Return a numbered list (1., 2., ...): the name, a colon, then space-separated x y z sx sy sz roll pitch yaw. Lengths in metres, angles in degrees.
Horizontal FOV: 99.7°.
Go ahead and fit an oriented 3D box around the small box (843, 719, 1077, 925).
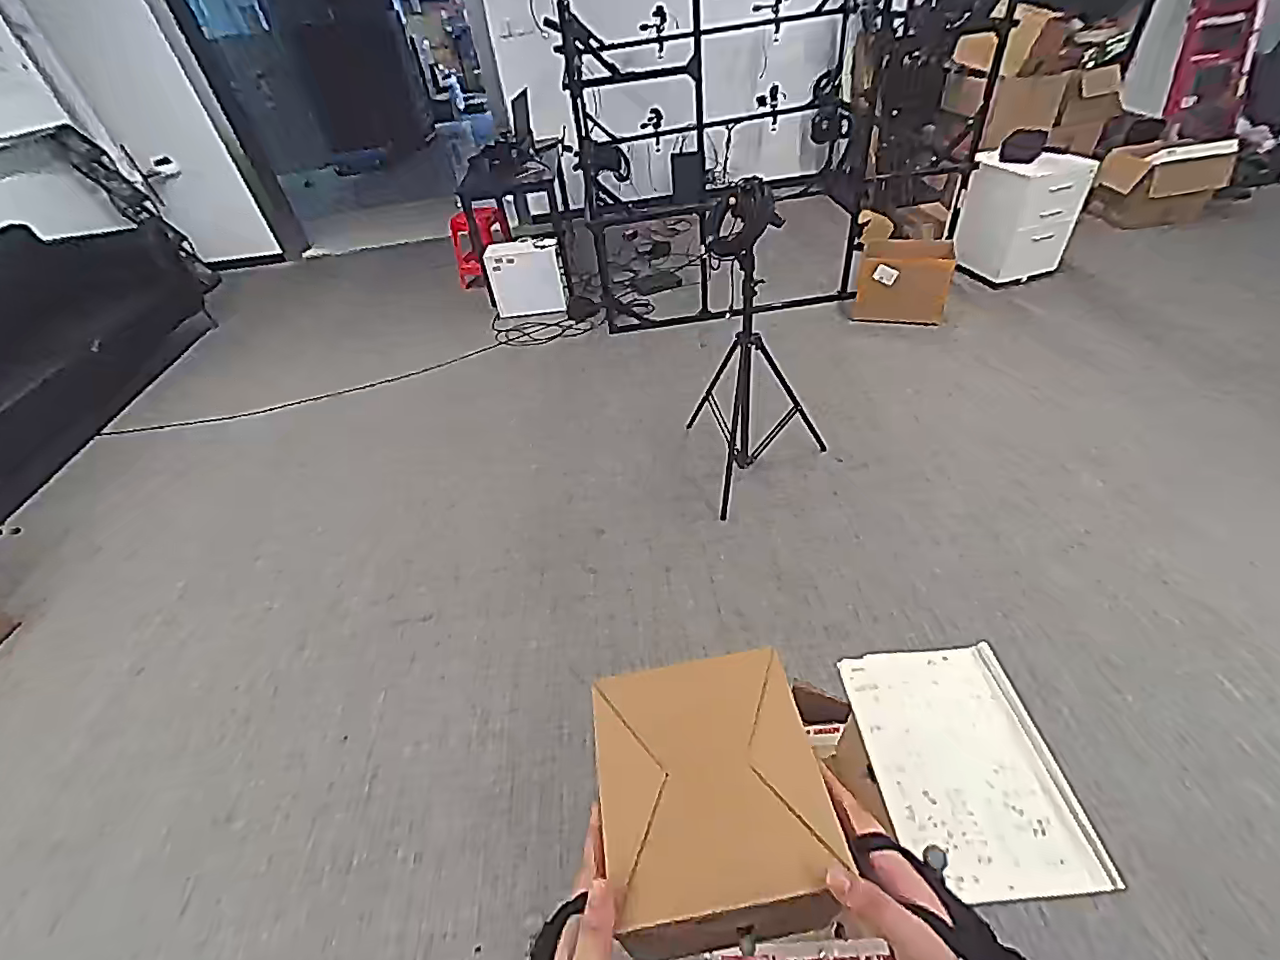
1. small box: 0.369 0.422 0.670 0.168 0.176 0.179 -5 44 0
